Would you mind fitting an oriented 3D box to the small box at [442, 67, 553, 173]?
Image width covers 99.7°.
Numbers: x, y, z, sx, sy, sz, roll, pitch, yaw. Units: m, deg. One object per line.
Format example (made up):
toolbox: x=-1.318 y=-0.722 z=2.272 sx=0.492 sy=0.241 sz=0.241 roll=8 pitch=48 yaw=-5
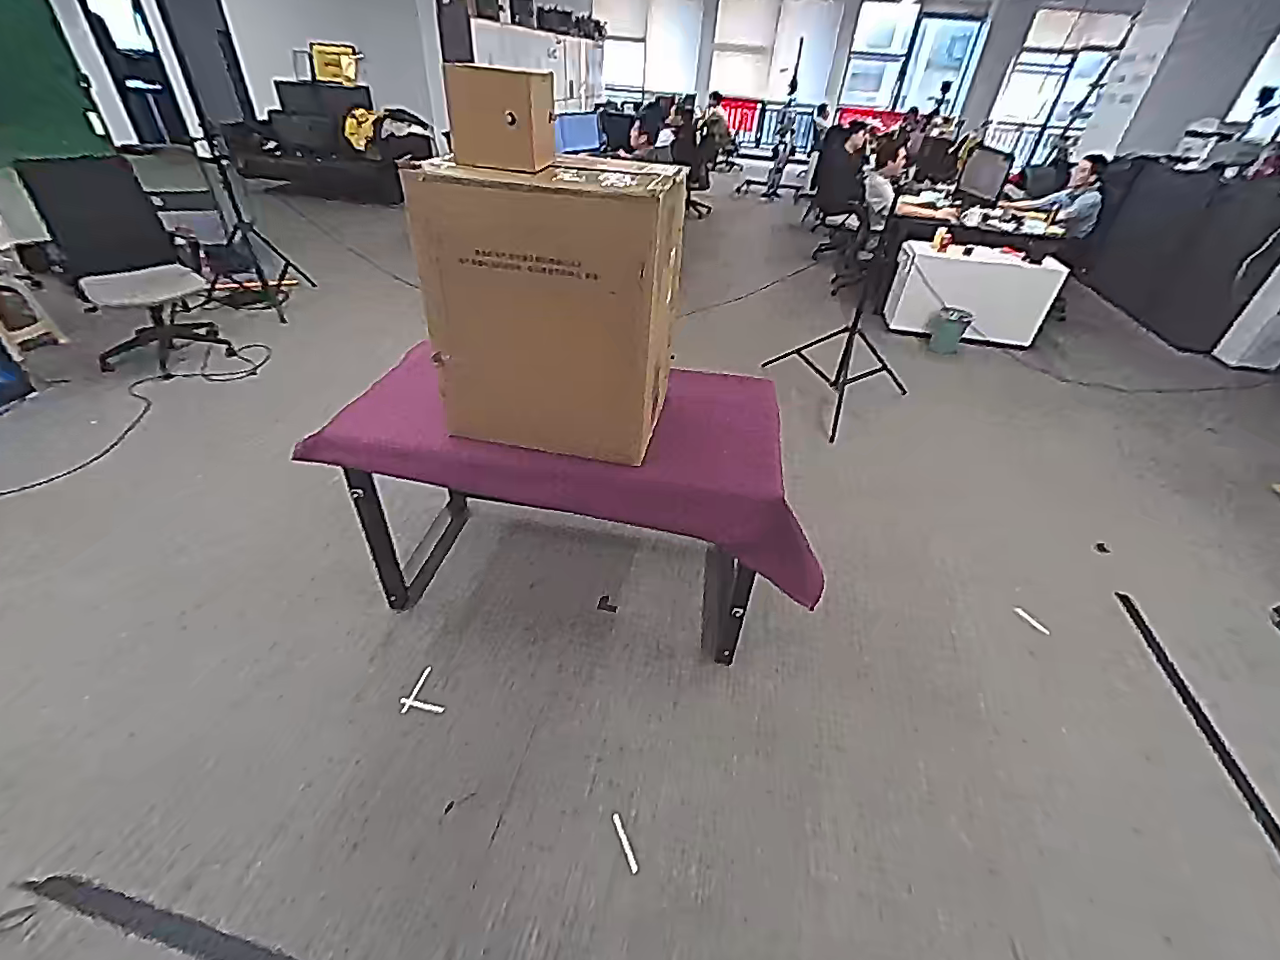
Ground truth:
small box: x=-0.283 y=-0.744 z=1.121 sx=0.179 sy=0.176 sz=0.168 roll=7 pitch=37 yaw=4
